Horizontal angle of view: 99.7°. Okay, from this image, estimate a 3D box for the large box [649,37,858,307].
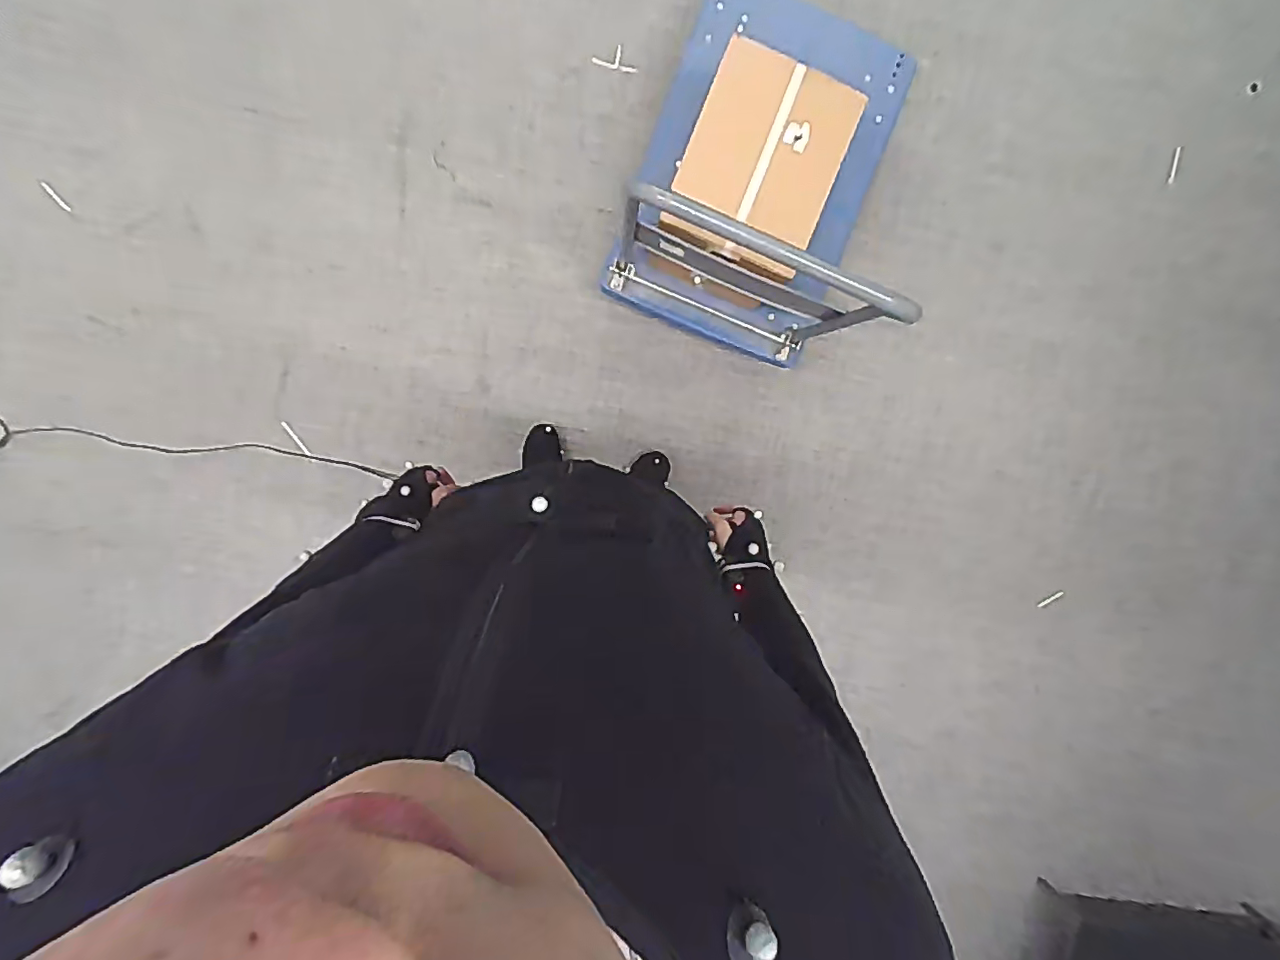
[{"bbox_3d":[0.239,-0.681,1.275,0.320,0.320,0.408,21,92,-6],"label":"large box"}]
